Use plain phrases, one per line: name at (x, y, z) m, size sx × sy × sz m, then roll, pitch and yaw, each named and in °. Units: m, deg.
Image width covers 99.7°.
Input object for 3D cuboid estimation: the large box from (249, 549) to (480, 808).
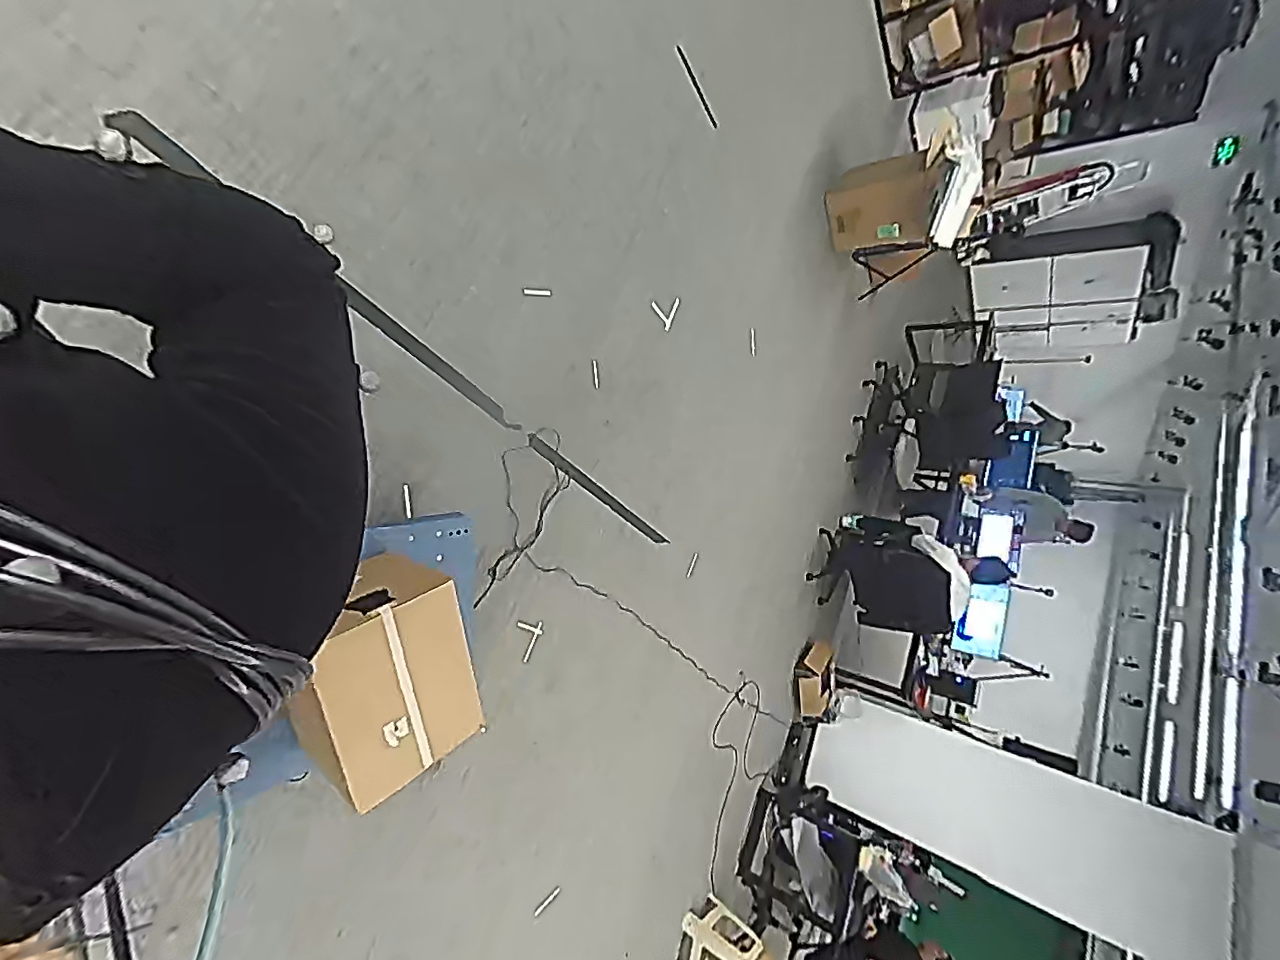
large box at (-0.618, 0.422, 1.240) m, size 0.320 × 0.320 × 0.408 m, roll -24°, pitch 116°, yaw -45°
